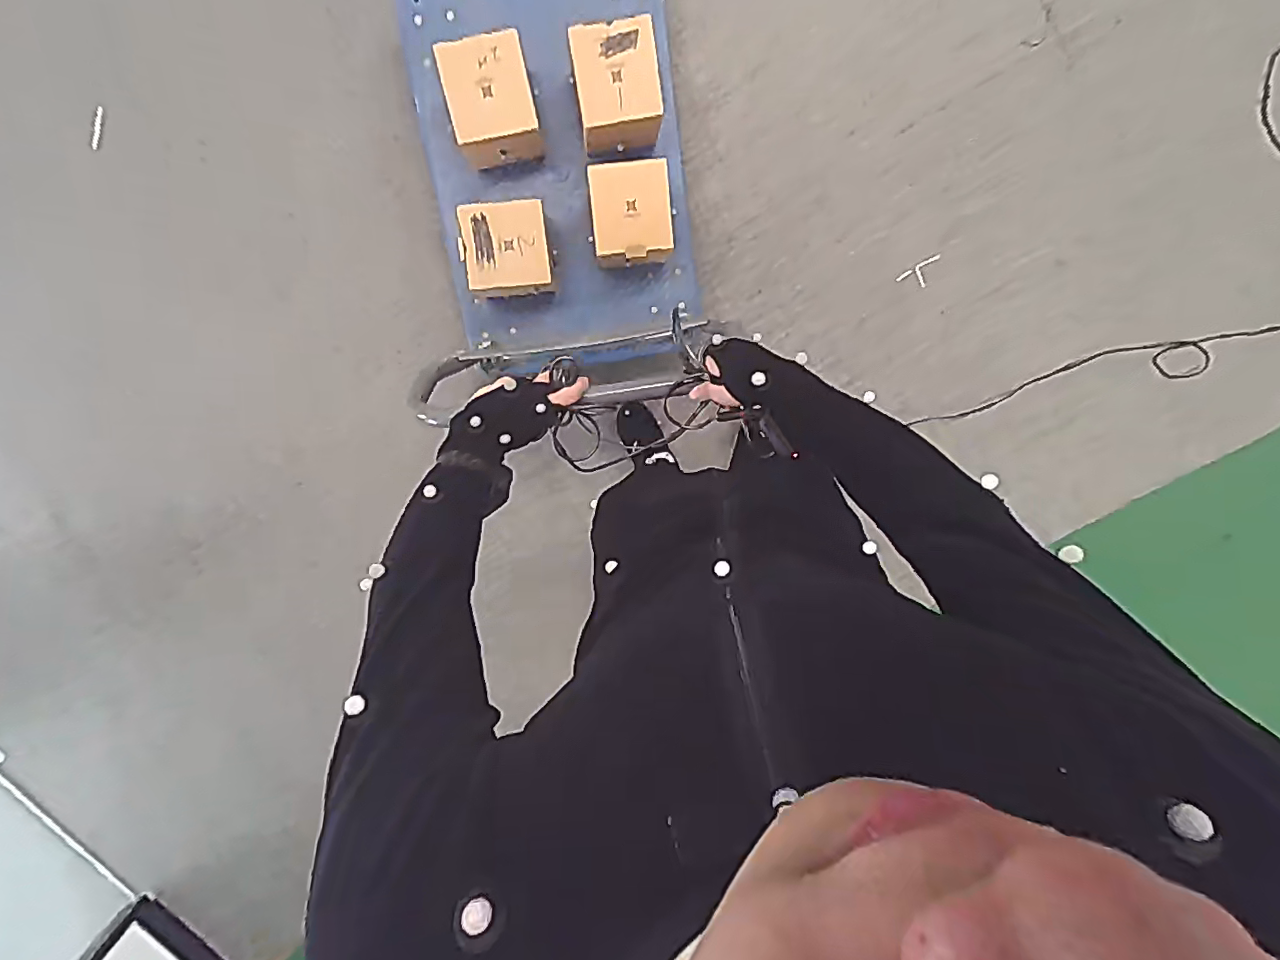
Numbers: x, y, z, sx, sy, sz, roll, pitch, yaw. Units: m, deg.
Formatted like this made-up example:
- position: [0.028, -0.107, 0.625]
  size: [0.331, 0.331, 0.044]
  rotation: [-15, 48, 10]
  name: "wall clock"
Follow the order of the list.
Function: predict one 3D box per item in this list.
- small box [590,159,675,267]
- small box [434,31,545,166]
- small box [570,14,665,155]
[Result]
- position: [-0.021, -0.583, 1.198]
  size: [0.168, 0.176, 0.179]
  rotation: [-7, 106, -1]
  name: "small box"
- position: [-0.302, -0.780, 1.128]
  size: [0.168, 0.176, 0.179]
  rotation: [-12, 104, -1]
  name: "small box"
- position: [-0.047, -0.817, 1.134]
  size: [0.168, 0.176, 0.179]
  rotation: [-11, 104, 0]
  name: "small box"
